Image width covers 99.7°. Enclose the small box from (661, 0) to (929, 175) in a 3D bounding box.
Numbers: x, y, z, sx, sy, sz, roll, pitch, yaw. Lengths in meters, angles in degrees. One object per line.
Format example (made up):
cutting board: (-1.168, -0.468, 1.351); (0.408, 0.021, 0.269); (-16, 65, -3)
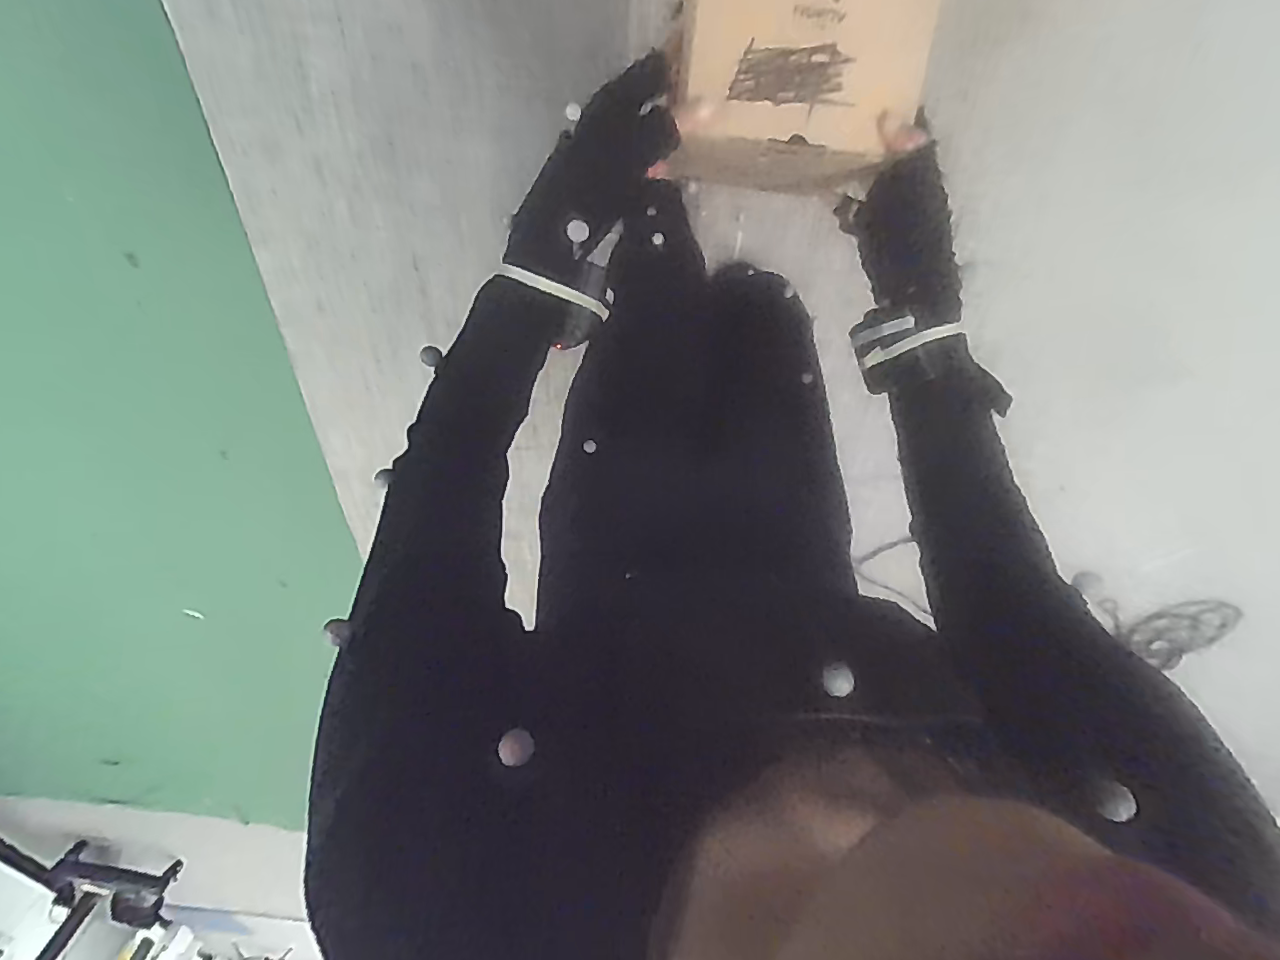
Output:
small box: (0.112, -0.362, 0.437); (0.168, 0.176, 0.179); (3, 110, -6)
